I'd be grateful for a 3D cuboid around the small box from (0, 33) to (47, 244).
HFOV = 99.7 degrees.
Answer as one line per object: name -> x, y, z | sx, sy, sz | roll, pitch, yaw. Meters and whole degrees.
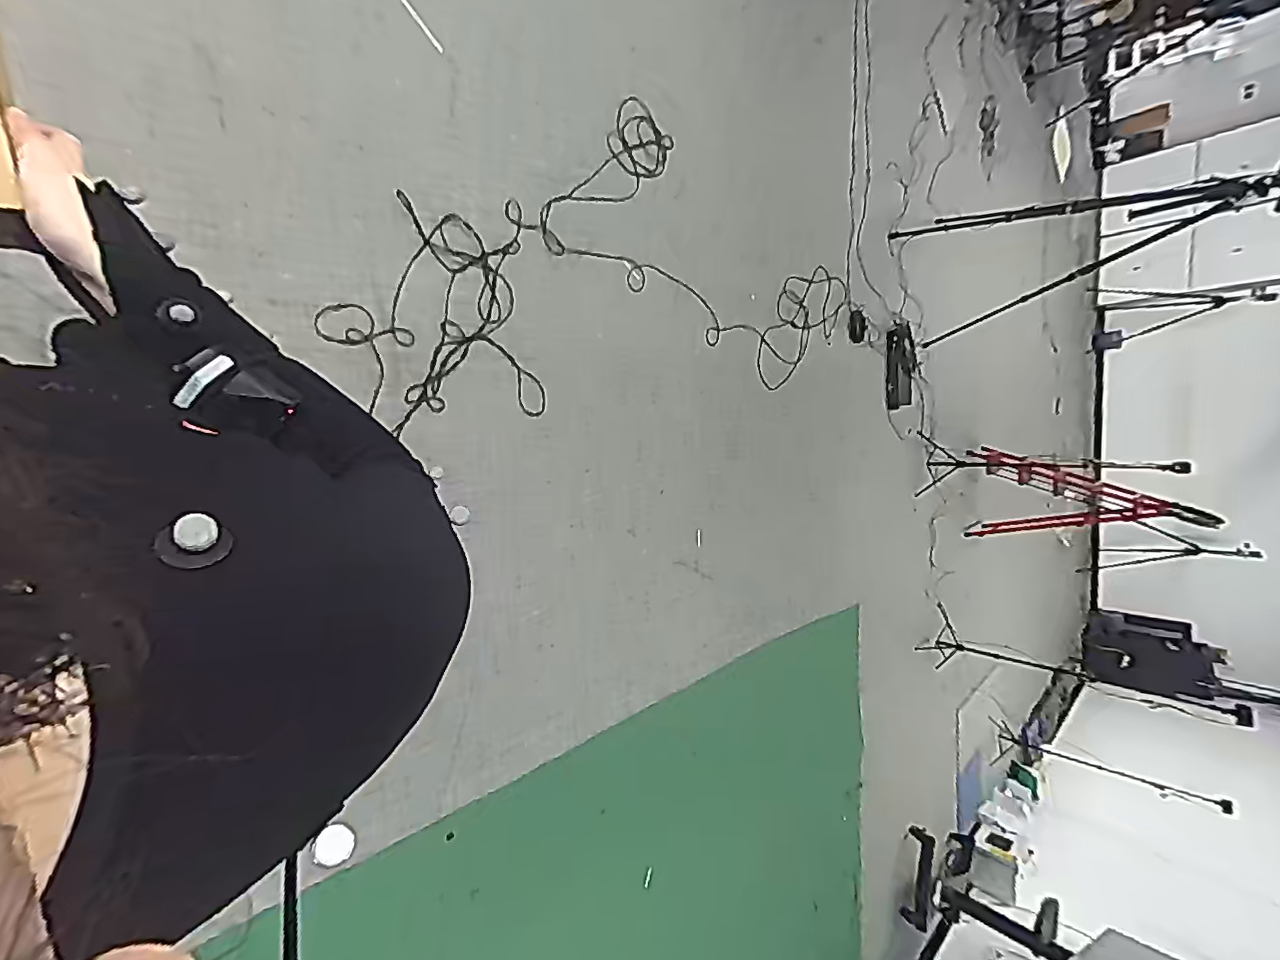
small box -> -0.474, -0.241, 0.300 | 0.168, 0.176, 0.179 | -14, 108, -42
